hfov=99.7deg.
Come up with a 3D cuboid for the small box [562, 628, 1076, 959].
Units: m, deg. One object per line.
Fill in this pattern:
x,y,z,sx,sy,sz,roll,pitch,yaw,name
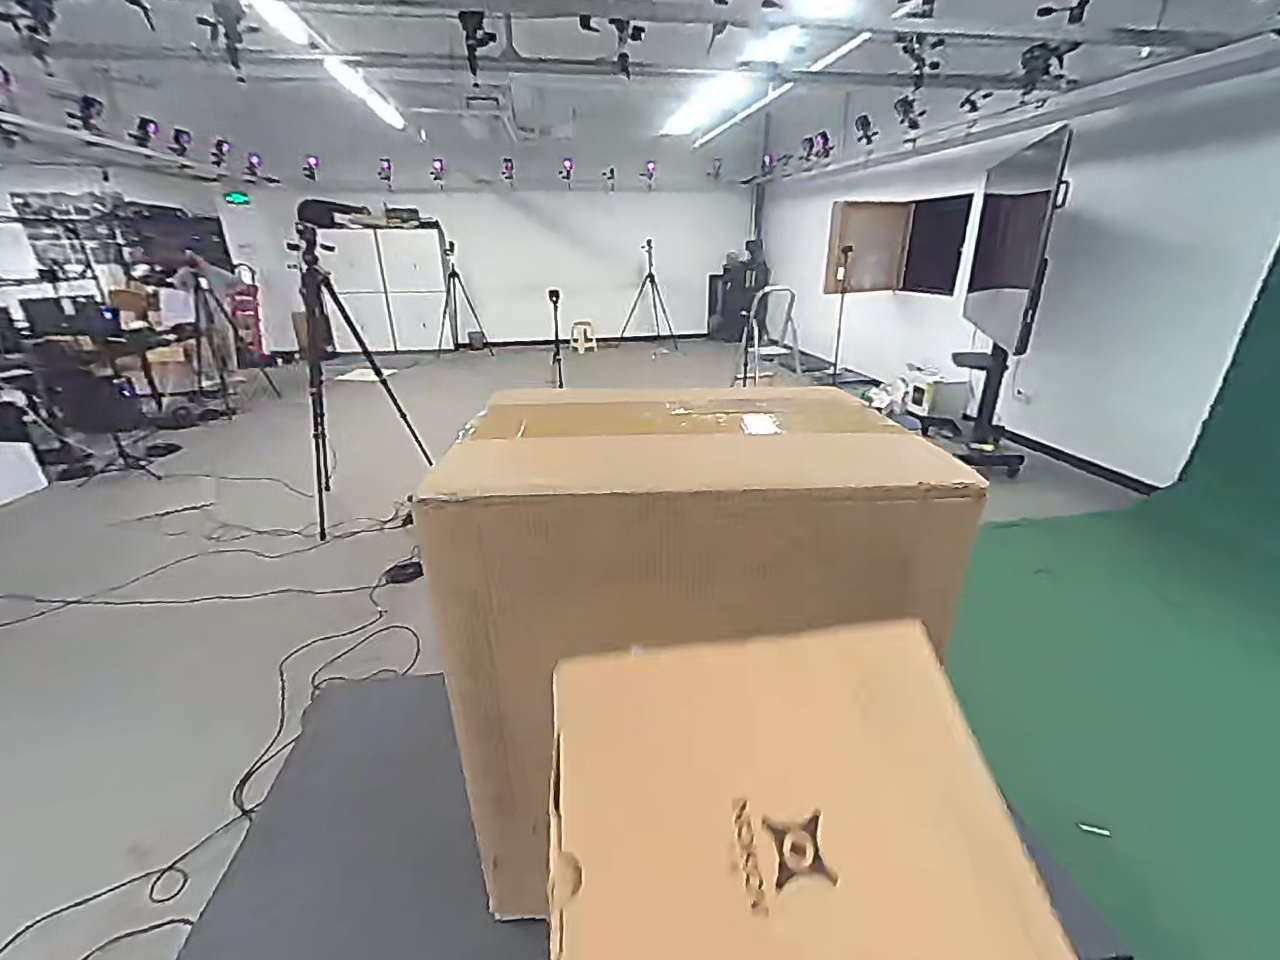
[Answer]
0.061,0.191,0.266,0.179,0.176,0.168,-7,51,-1,small box
